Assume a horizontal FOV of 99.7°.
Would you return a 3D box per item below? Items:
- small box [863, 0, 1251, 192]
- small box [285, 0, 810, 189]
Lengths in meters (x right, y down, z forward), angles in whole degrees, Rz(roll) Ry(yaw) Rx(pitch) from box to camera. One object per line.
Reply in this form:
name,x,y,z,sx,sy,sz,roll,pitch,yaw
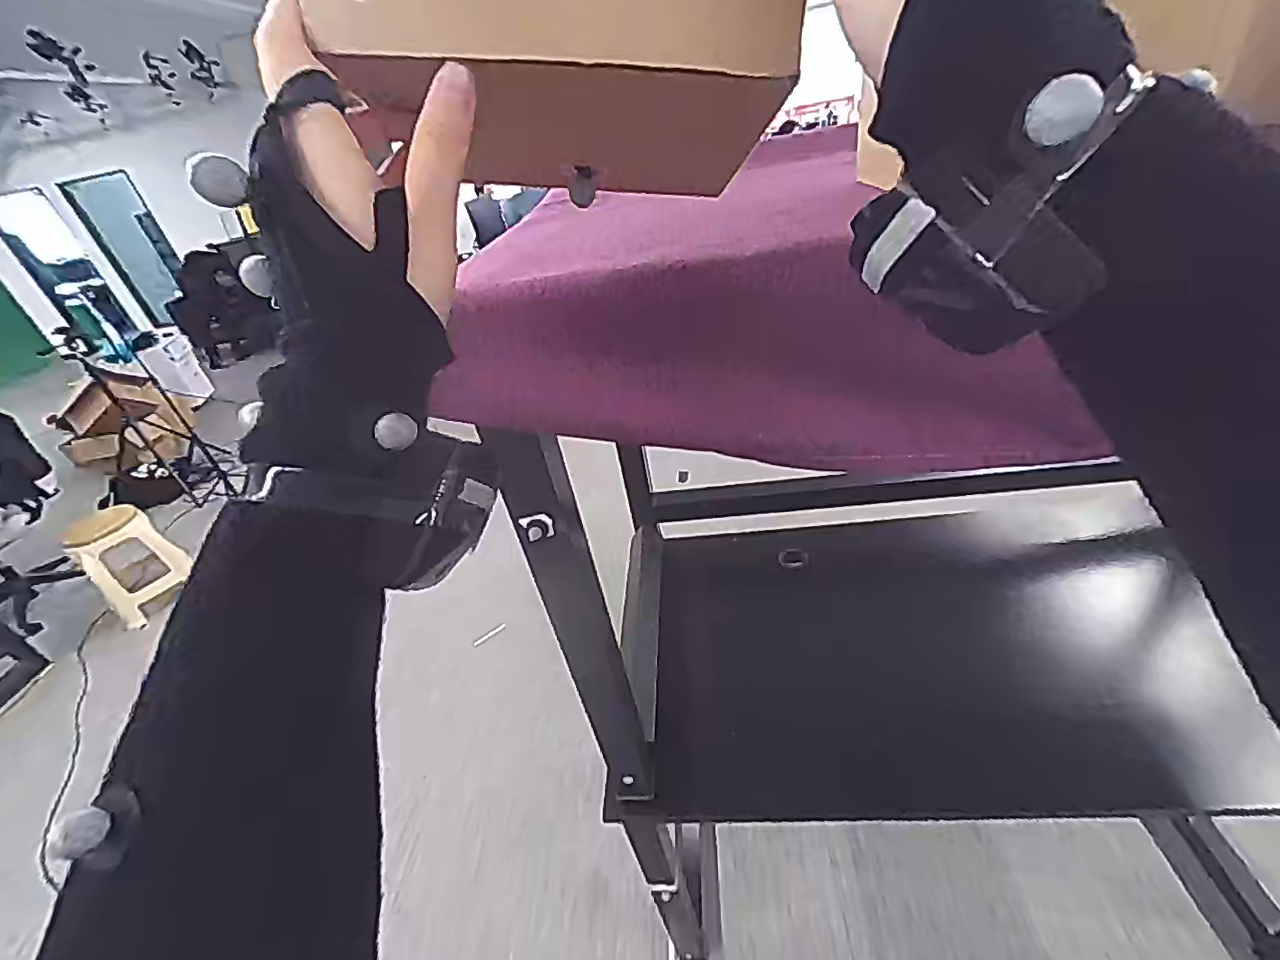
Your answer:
small box,0.263,-0.306,0.368,0.168,0.176,0.179,-7,33,7
small box,-0.030,-0.243,0.240,0.179,0.168,0.176,1,14,-2
